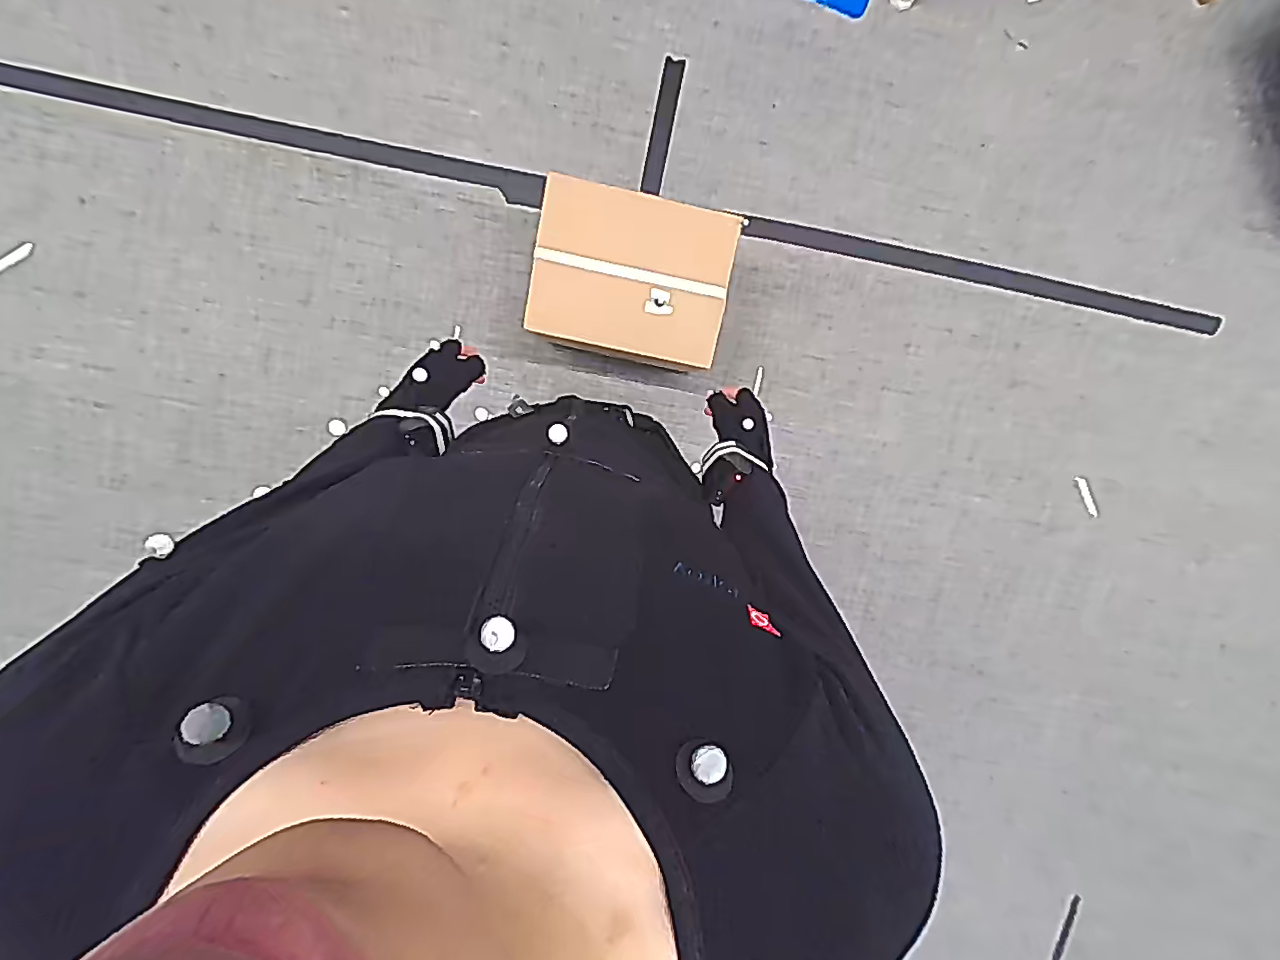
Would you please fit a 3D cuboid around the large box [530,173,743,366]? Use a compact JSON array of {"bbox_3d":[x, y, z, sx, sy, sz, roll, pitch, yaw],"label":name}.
[{"bbox_3d":[-0.020,-0.459,1.261,0.408,0.320,0.320,10,100,-6],"label":"large box"}]
